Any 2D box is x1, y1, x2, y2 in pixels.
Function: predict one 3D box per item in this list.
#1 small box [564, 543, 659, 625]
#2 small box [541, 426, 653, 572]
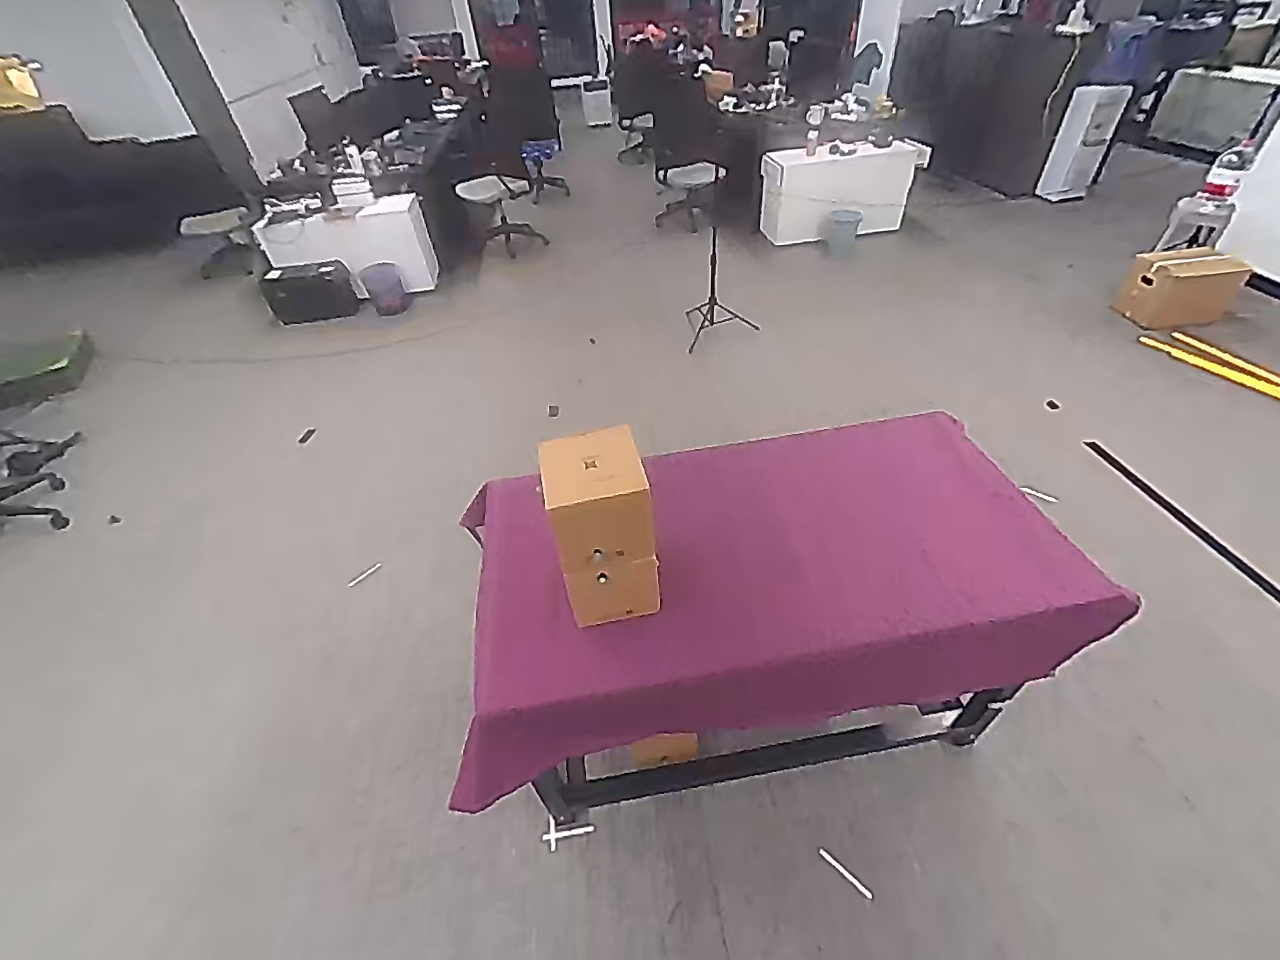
[{"bbox_3d":[-0.060,0.153,1.055,0.168,0.176,0.179,-10,43,-5],"label":"small box"},{"bbox_3d":[-0.075,0.032,0.945,0.168,0.176,0.179,-11,43,-6],"label":"small box"}]
